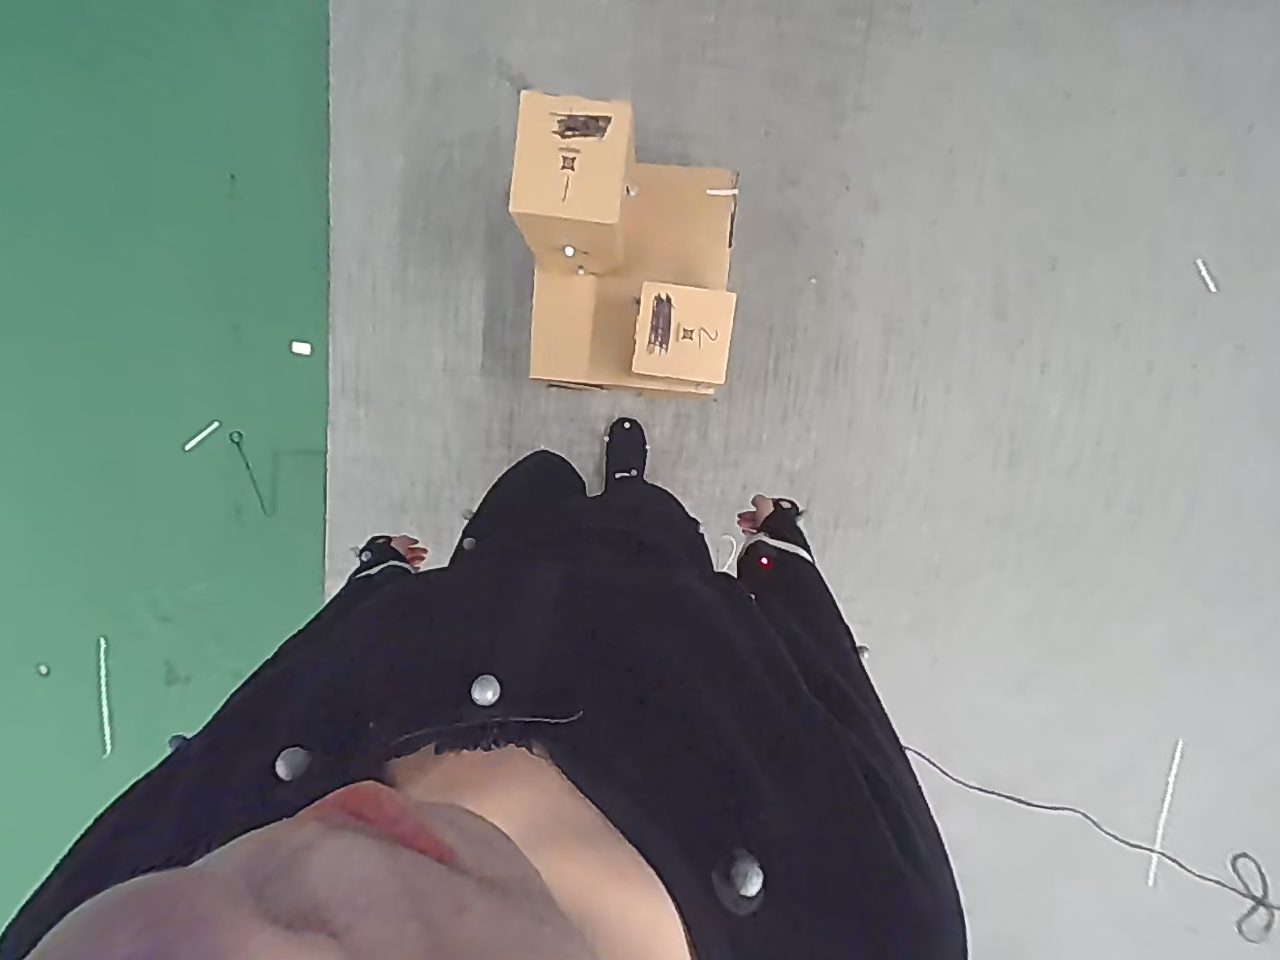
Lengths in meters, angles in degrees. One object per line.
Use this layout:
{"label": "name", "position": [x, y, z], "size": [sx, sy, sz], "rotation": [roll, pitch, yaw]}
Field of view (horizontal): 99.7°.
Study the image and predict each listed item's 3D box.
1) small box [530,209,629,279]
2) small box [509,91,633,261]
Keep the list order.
{"label": "small box", "position": [-0.110, -0.507, 1.039], "size": [0.168, 0.176, 0.179], "rotation": [5, 94, 0]}
{"label": "small box", "position": [-0.103, -0.478, 0.876], "size": [0.168, 0.176, 0.179], "rotation": [7, 95, 0]}
